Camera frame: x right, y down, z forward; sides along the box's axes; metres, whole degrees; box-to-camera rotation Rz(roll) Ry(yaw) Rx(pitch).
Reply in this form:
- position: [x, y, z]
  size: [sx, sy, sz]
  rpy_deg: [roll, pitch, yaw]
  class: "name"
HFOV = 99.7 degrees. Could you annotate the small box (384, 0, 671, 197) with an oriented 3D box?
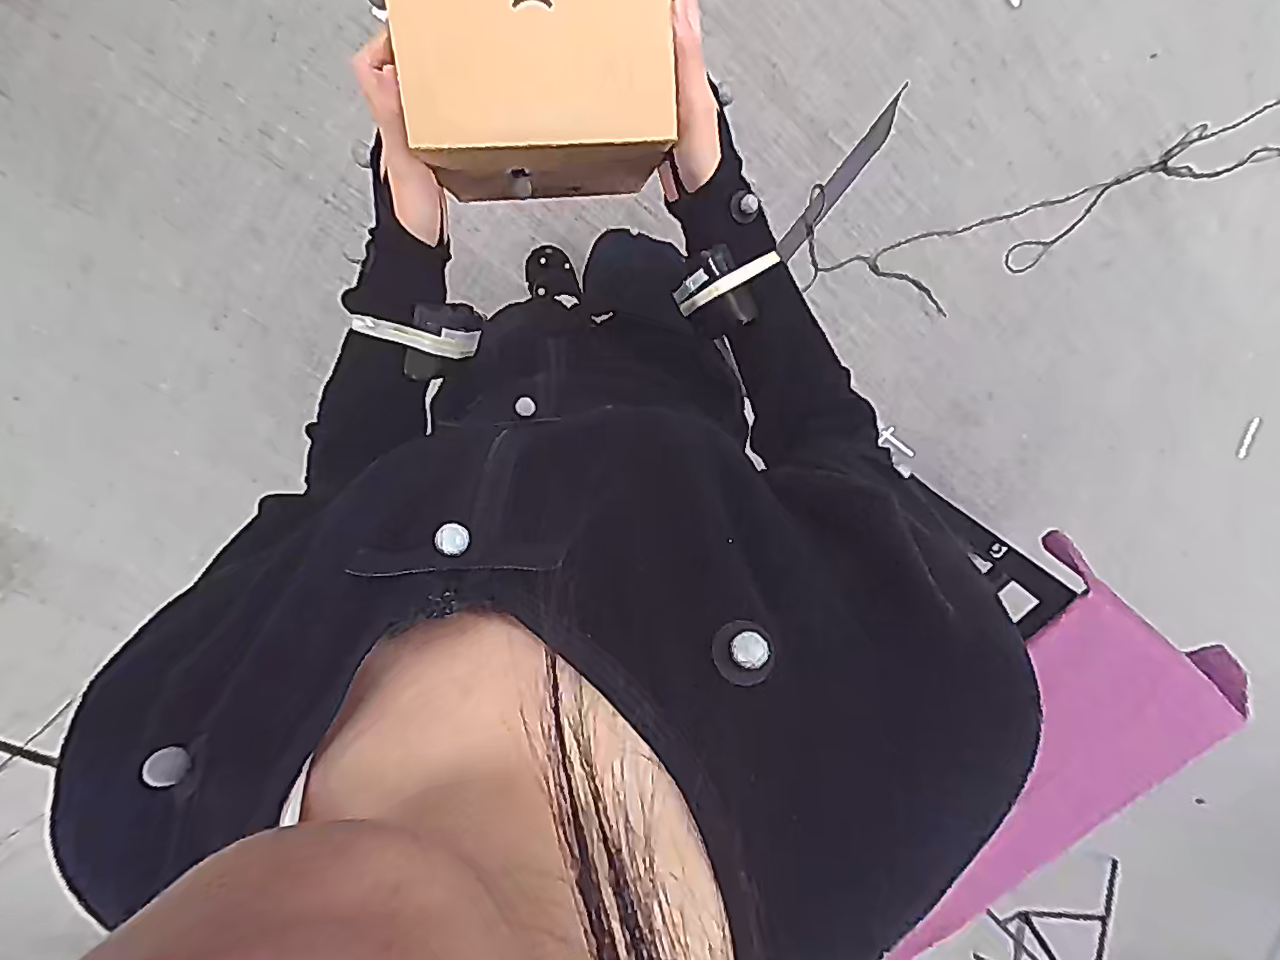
- position: [-0.074, -0.311, 0.385]
  size: [0.168, 0.176, 0.179]
  rpy_deg: [-6, 106, -6]
  class: "small box"
